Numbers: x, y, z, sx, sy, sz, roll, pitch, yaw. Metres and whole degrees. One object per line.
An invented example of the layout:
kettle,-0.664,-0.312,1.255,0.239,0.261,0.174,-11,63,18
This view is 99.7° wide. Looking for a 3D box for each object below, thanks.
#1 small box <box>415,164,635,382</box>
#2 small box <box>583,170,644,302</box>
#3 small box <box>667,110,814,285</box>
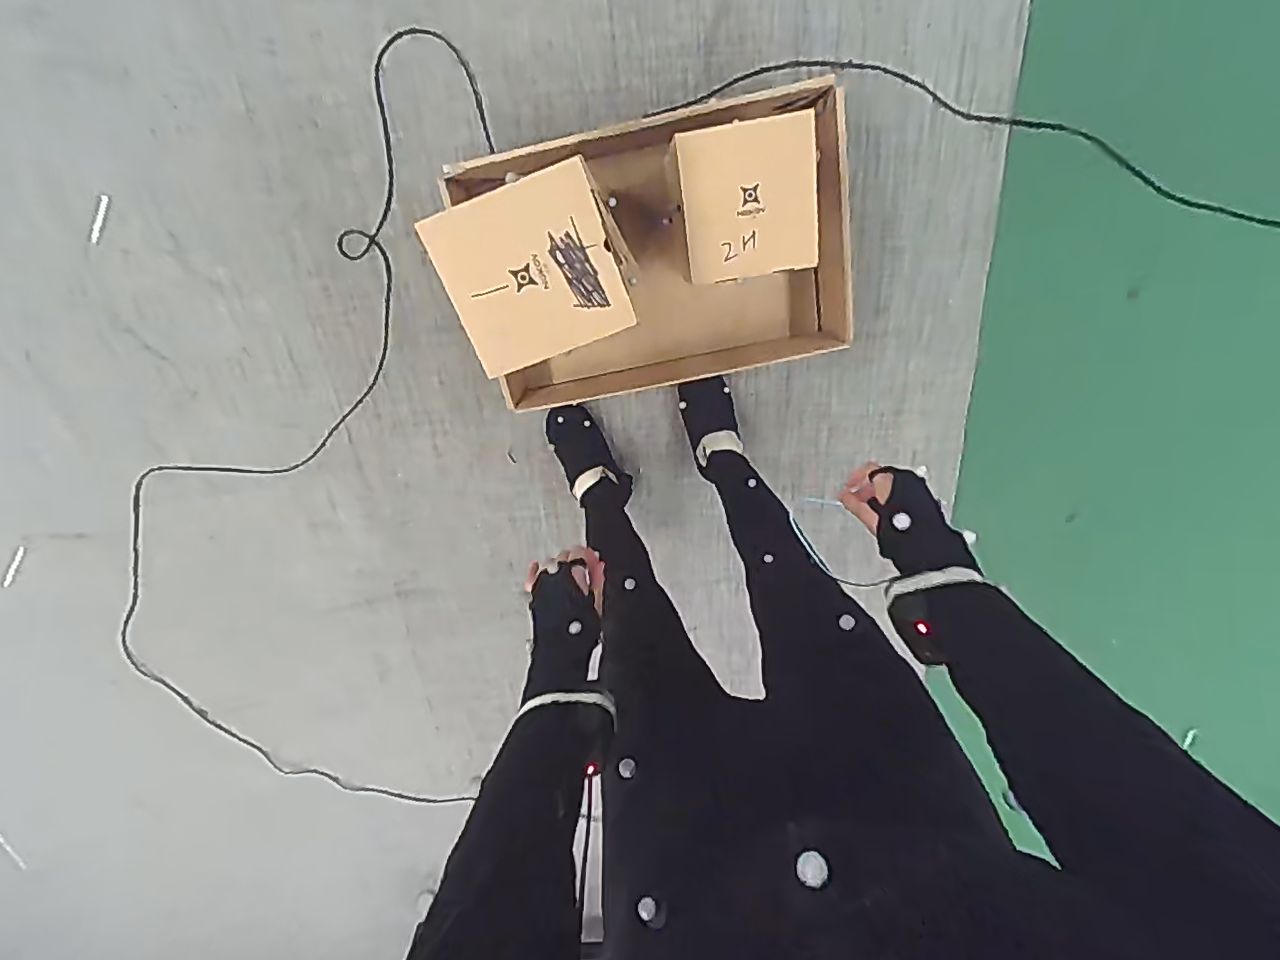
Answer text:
small box,-0.116,-0.236,0.617,0.179,0.176,0.168,-19,114,7
small box,-0.110,-0.308,0.765,0.179,0.176,0.168,-26,113,9
small box,0.130,-0.372,0.736,0.168,0.176,0.179,-8,114,4
